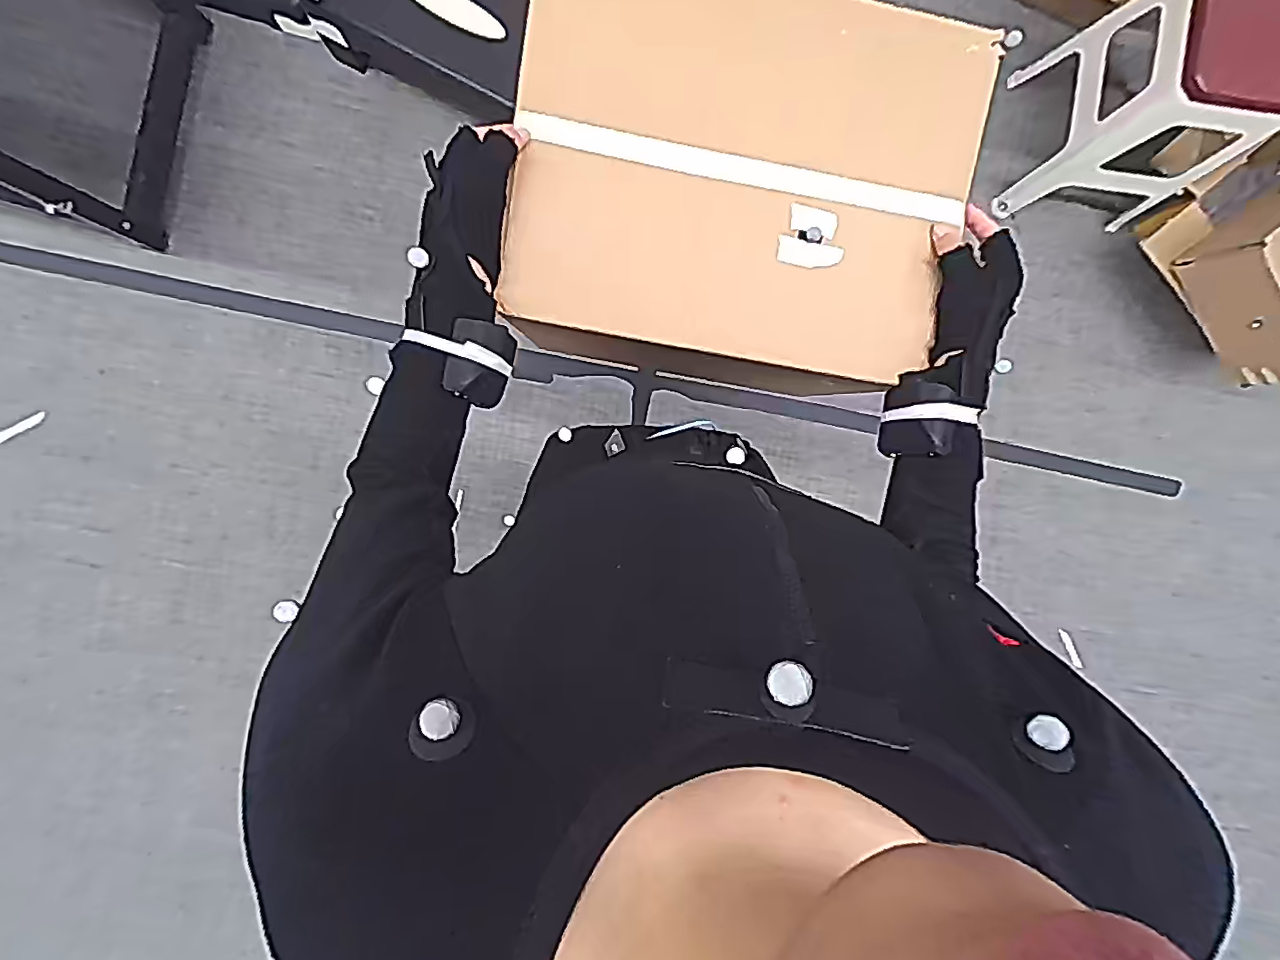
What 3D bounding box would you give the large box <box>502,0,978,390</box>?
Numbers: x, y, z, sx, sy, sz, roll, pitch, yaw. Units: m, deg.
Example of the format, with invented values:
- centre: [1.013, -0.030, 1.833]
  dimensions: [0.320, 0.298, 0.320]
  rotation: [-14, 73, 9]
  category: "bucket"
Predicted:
- centre: [0.079, -0.294, 0.638]
  dimensions: [0.408, 0.320, 0.320]
  rotation: [9, 98, -5]
  category: "large box"
